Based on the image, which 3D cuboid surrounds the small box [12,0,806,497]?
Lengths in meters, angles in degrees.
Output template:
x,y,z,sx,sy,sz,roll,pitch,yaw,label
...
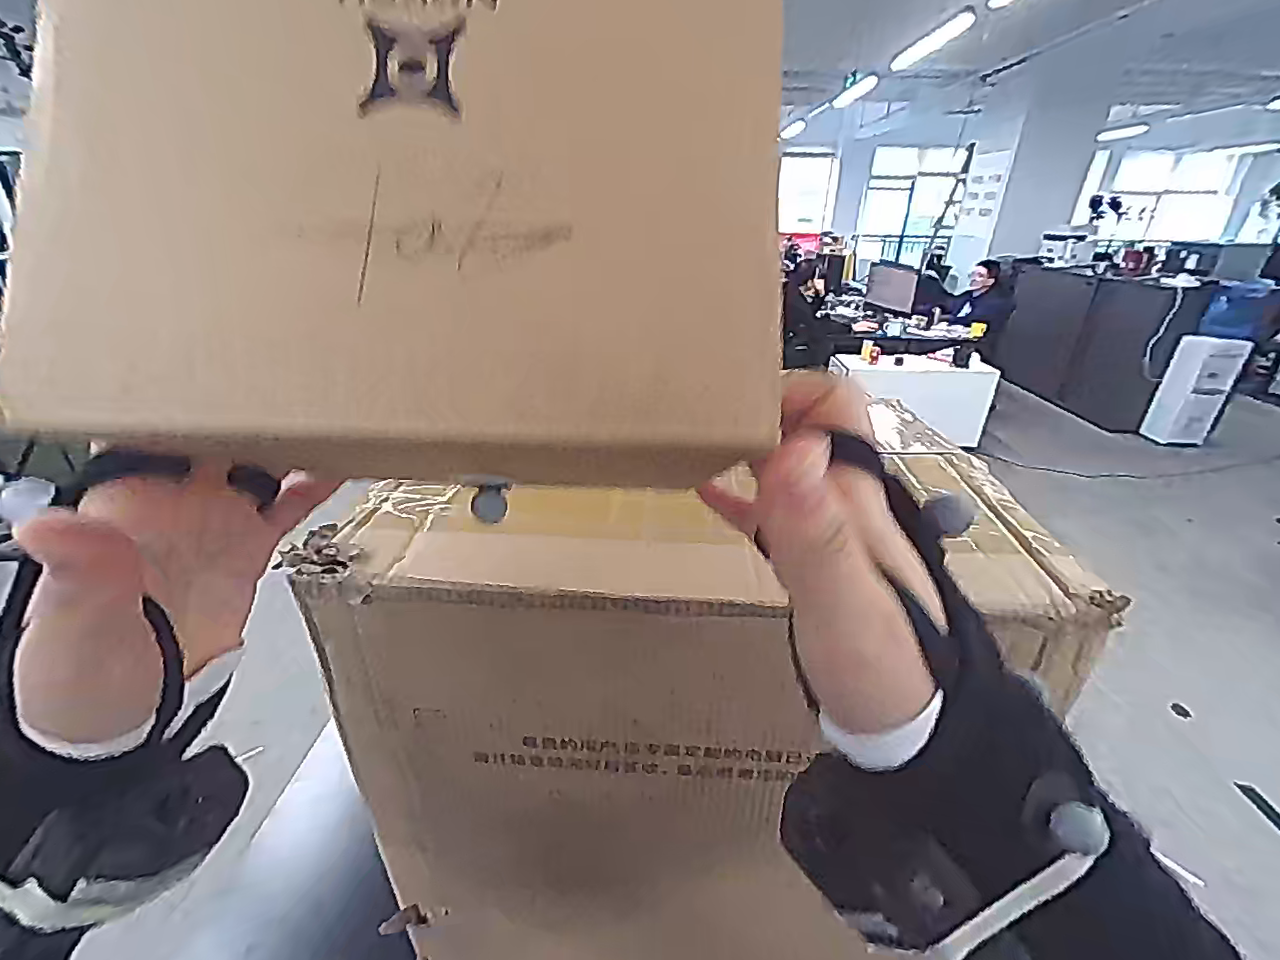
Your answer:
x,y,z,sx,sy,sz,roll,pitch,yaw,label
-0.046,-0.087,0.199,0.168,0.179,0.176,1,-4,0,small box
